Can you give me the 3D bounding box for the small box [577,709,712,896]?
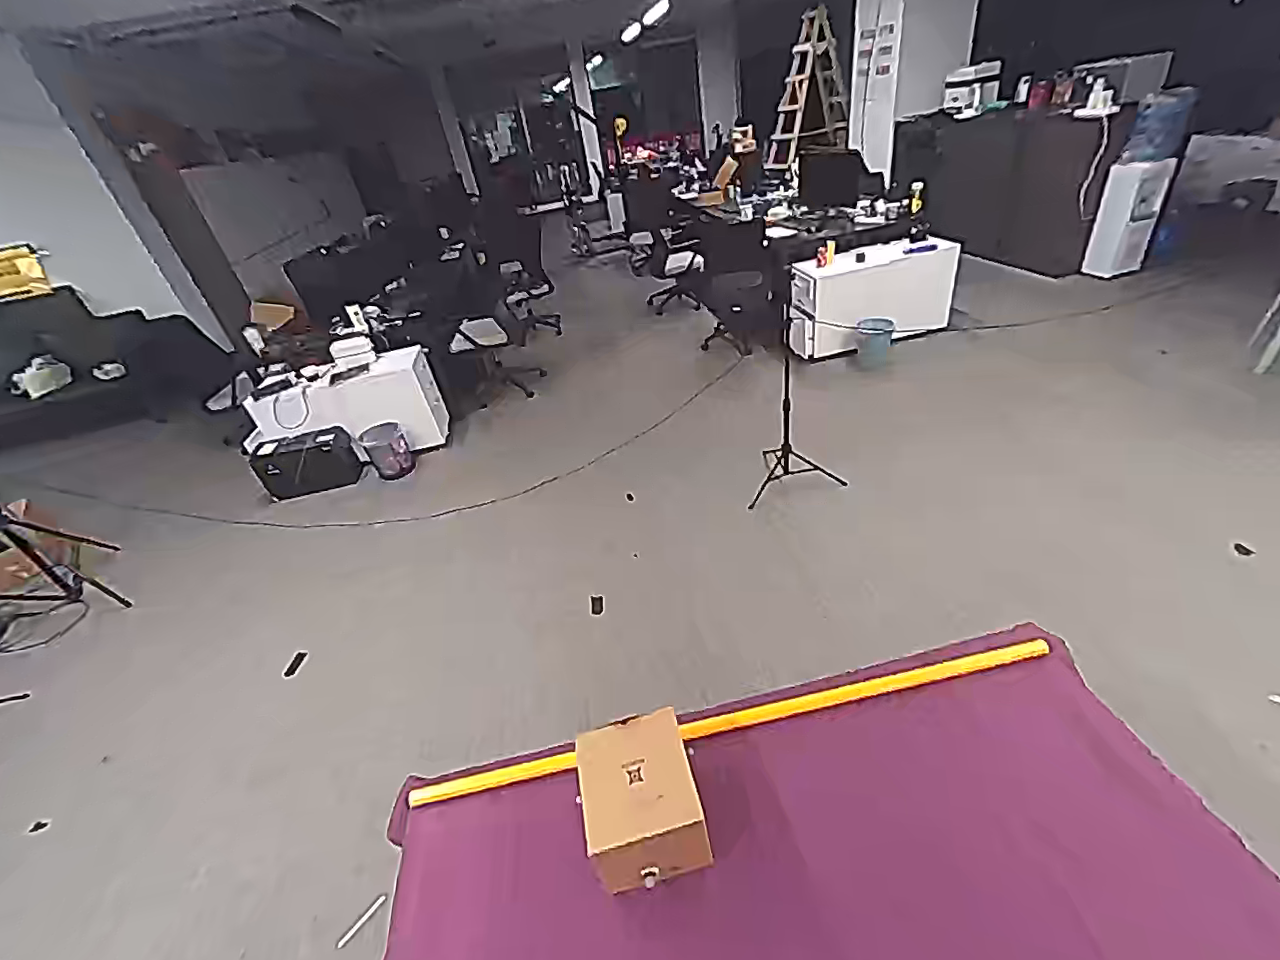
[{"bbox_3d":[0.006,0.498,0.841,0.168,0.176,0.179,-15,36,-5],"label":"small box"}]
